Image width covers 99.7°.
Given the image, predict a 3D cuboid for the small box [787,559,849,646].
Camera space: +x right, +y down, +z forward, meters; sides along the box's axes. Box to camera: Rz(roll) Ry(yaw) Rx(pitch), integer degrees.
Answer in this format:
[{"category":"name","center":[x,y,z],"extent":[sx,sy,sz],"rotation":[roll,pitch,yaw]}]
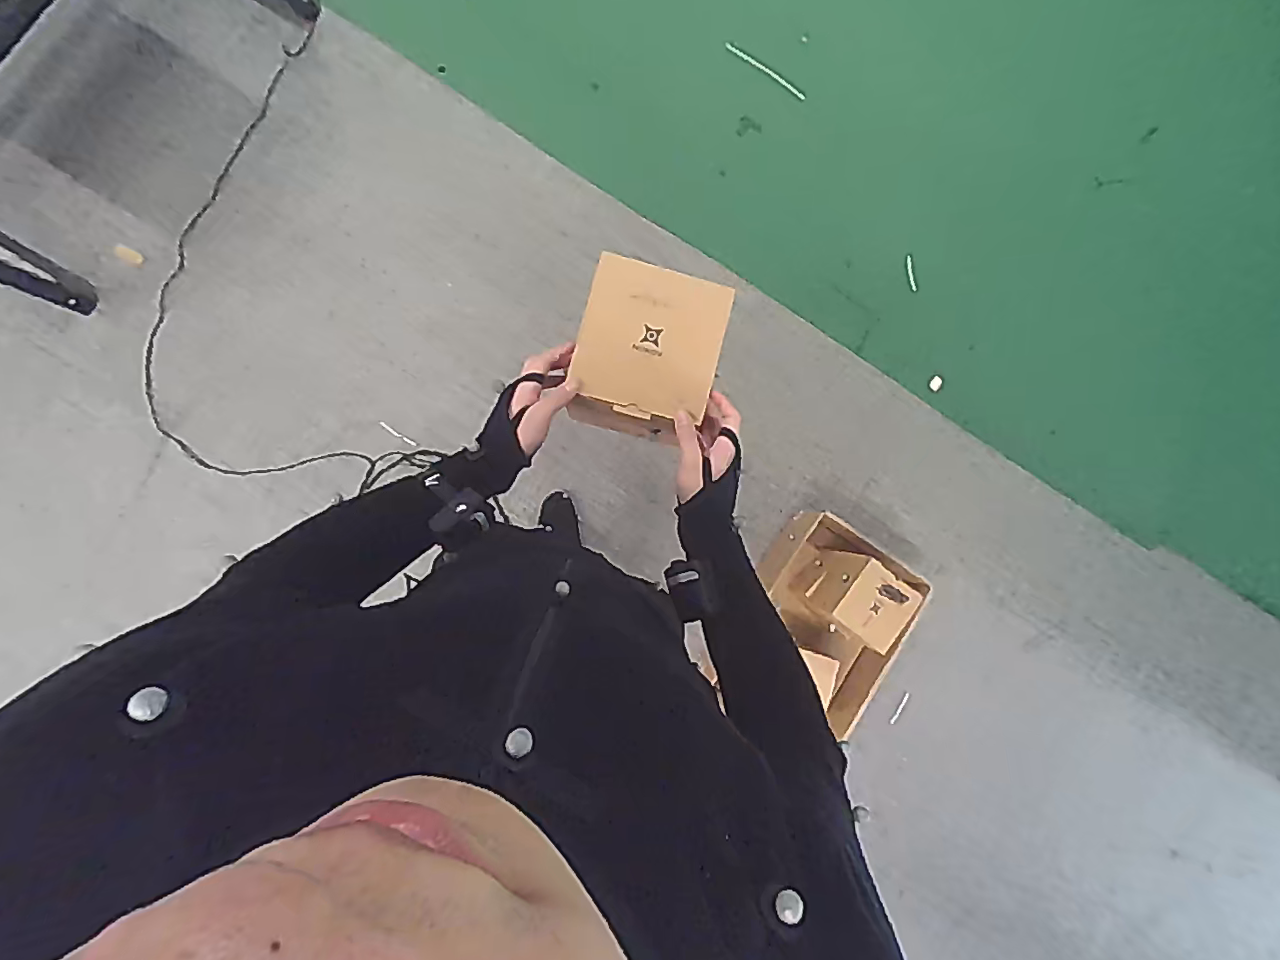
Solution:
[{"category":"small box","center":[0.554,0.339,1.545],"extent":[0.168,0.176,0.179],"rotation":[-44,92,-6]}]

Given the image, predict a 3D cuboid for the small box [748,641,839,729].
[{"category":"small box","center":[0.422,0.564,1.515],"extent":[0.179,0.176,0.168],"rotation":[19,84,-3]}]

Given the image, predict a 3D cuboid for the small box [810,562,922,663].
[{"category":"small box","center":[0.566,0.328,1.382],"extent":[0.168,0.176,0.179],"rotation":[39,85,-1]}]

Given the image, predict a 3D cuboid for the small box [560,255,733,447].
[{"category":"small box","center":[0.004,-0.151,0.699],"extent":[0.168,0.176,0.179],"rotation":[16,84,-4]}]
